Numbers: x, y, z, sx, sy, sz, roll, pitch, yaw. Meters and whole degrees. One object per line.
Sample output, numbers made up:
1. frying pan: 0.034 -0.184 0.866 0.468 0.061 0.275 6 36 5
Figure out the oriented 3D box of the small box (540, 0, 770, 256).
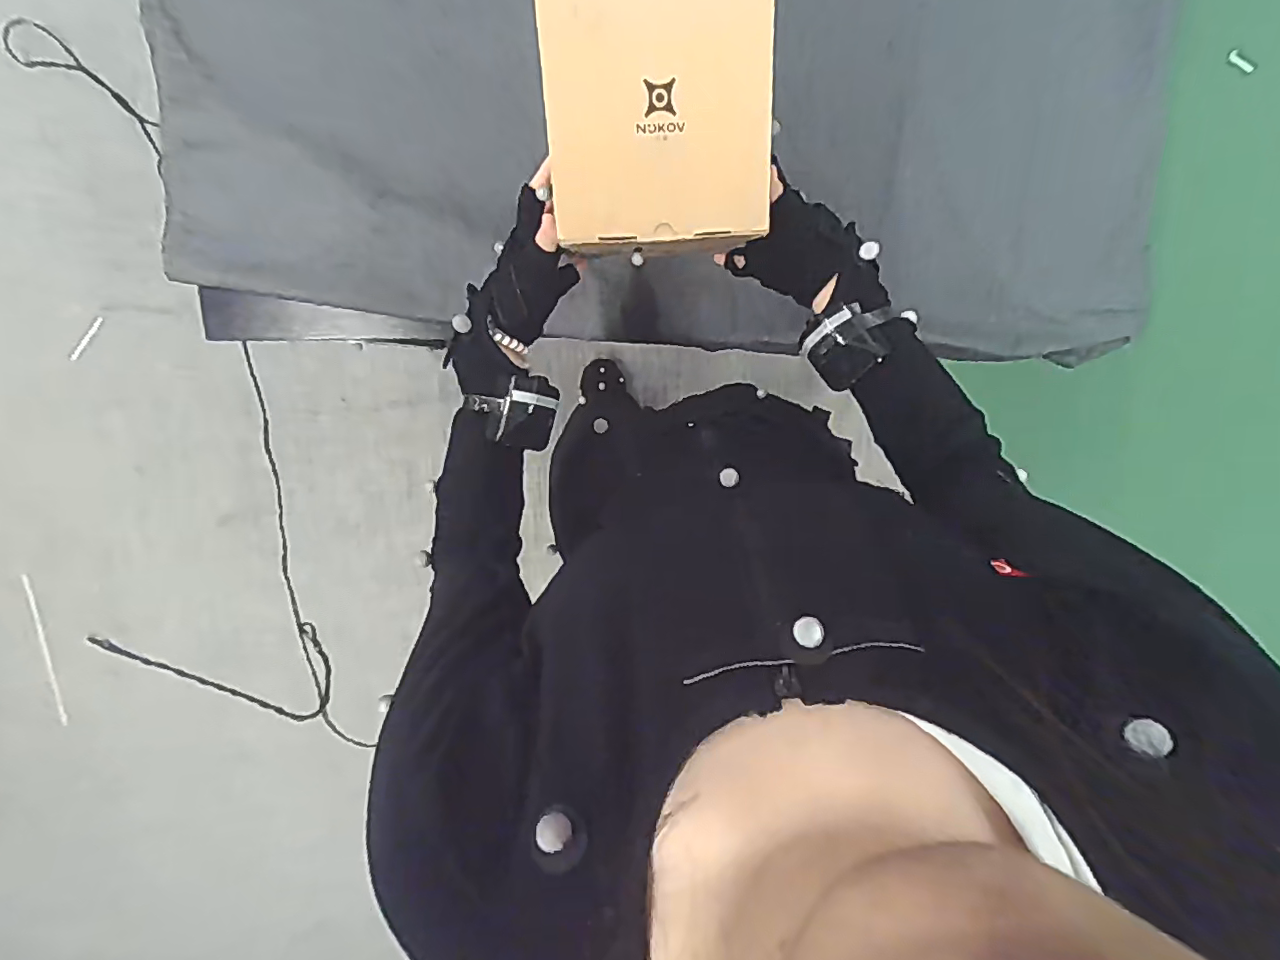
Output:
1. small box: 0.006 -0.298 0.472 0.168 0.176 0.179 -4 110 -4
